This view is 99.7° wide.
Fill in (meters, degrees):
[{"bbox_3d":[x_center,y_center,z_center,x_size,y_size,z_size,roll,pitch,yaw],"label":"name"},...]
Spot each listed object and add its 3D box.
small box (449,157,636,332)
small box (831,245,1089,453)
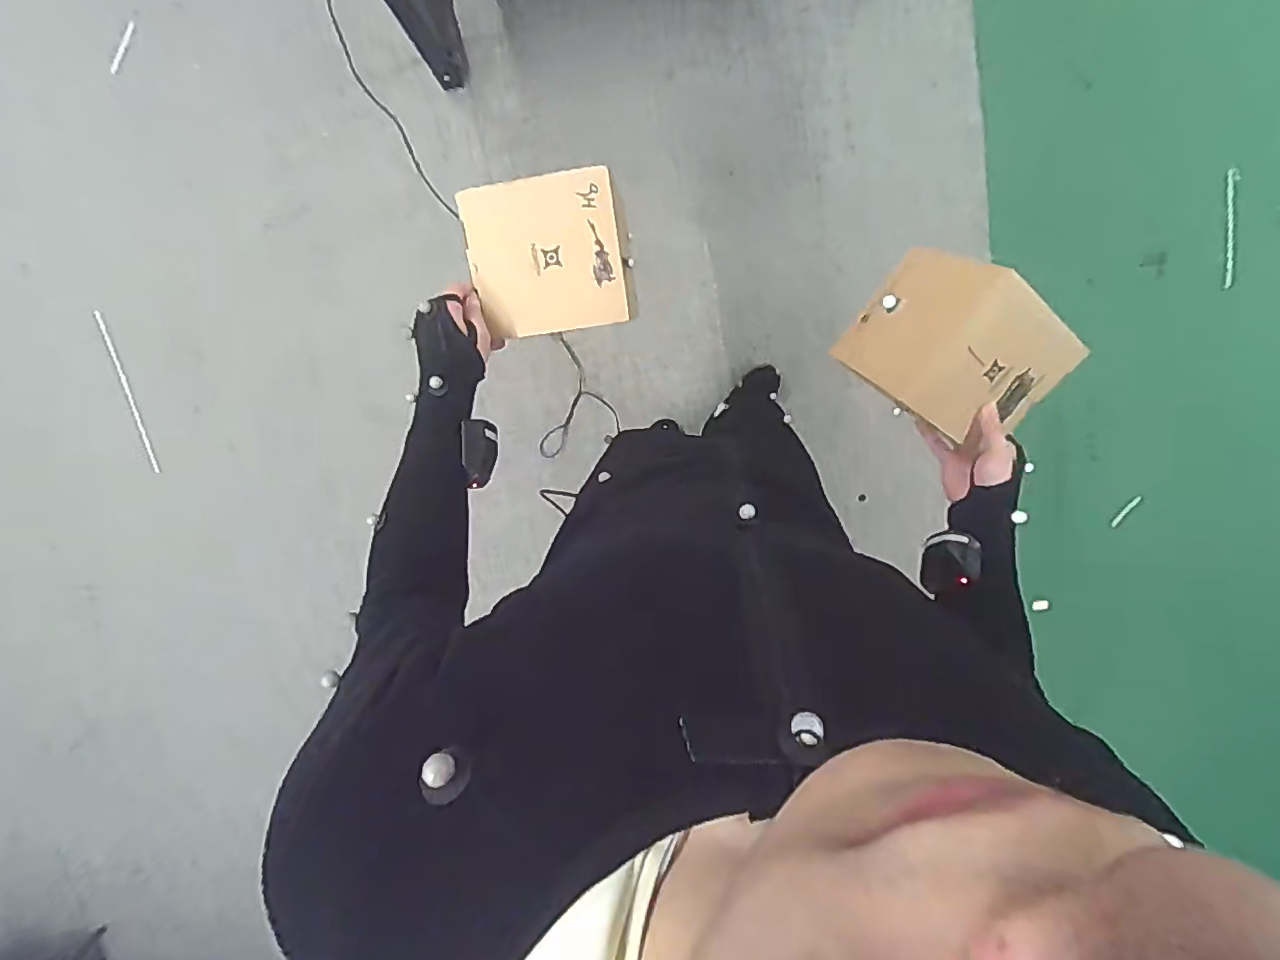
[{"bbox_3d":[-0.108,-0.283,0.683,0.179,0.176,0.168,-6,108,7],"label":"small box"},{"bbox_3d":[0.380,-0.168,0.670,0.179,0.176,0.168,25,112,-25],"label":"small box"}]
